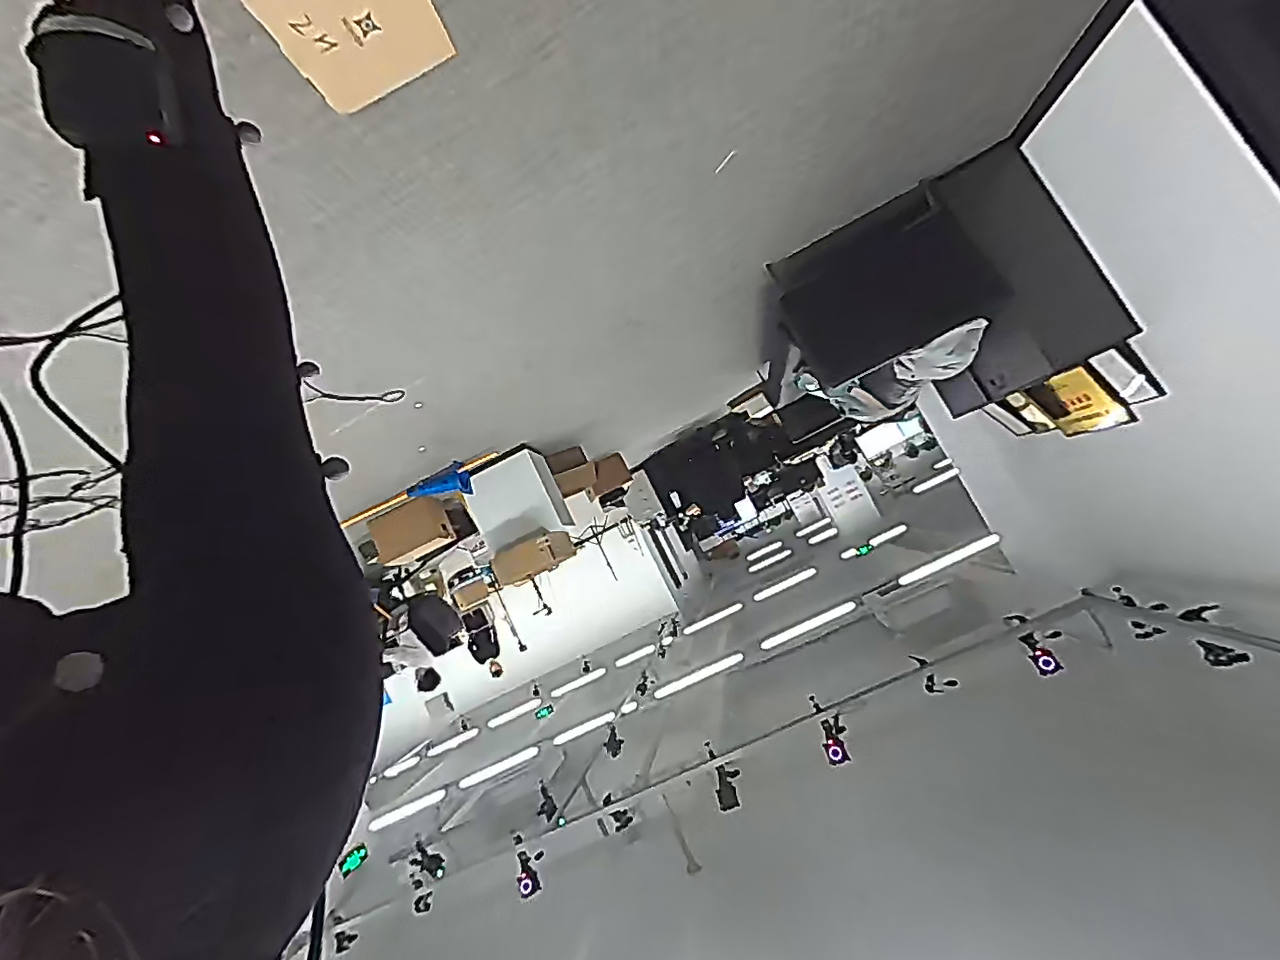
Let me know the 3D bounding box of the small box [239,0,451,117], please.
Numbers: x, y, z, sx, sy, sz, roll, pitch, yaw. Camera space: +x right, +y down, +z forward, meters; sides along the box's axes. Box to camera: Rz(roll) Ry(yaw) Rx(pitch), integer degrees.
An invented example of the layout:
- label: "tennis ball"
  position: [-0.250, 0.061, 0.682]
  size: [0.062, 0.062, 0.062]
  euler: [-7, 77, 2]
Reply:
- label: "small box"
  position: [-0.358, -0.584, 0.622]
  size: [0.179, 0.176, 0.168]
  euler: [-27, 173, 2]
